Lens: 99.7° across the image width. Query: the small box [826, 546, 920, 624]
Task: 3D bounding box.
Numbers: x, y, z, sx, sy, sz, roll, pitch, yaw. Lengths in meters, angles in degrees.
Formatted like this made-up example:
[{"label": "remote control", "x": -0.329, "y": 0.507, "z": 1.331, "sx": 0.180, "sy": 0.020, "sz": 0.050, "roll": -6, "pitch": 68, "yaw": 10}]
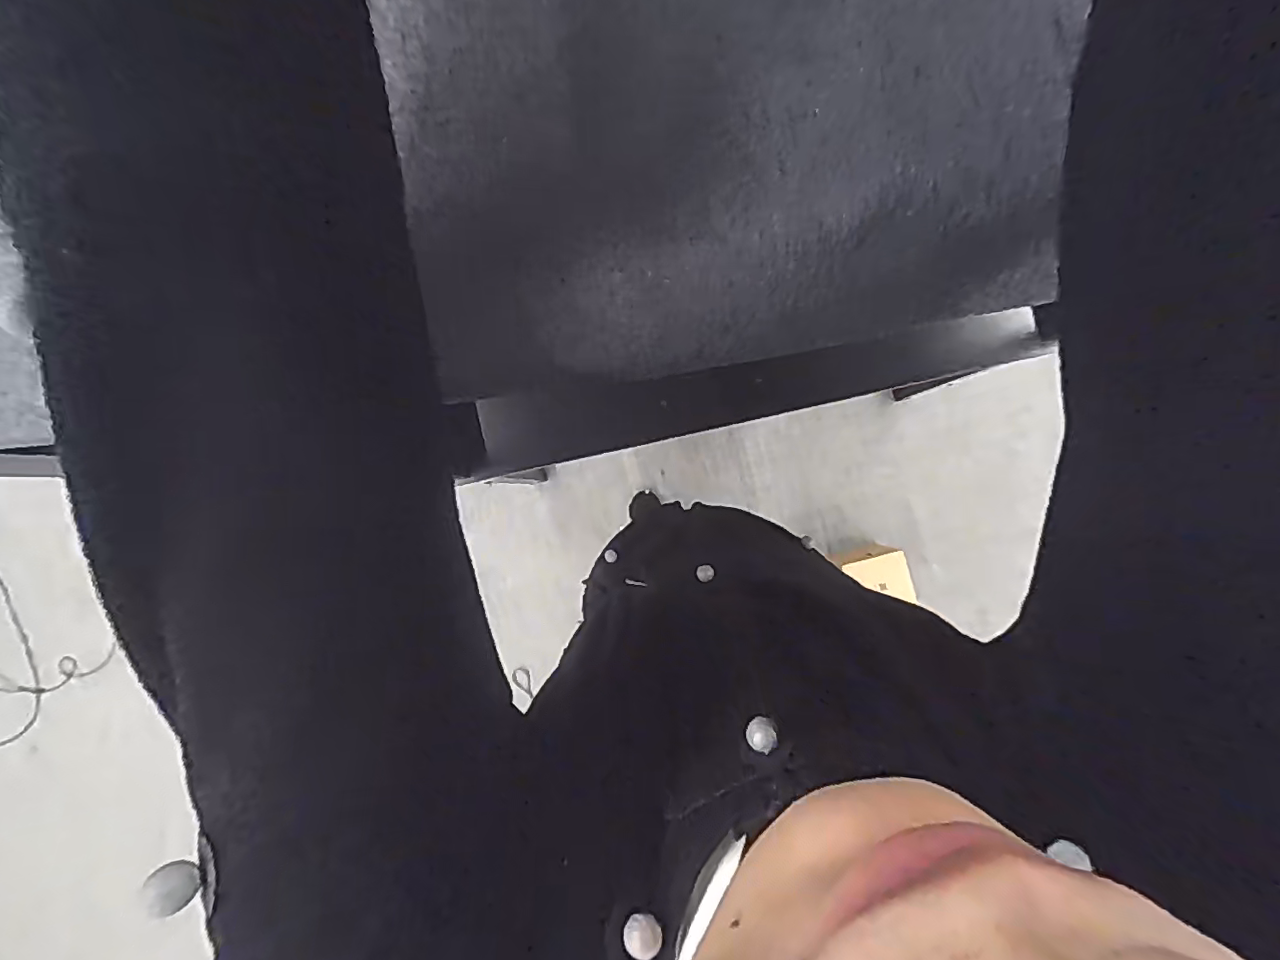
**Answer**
[{"label": "small box", "x": 0.658, "y": 0.293, "z": 1.545, "sx": 0.179, "sy": 0.176, "sz": 0.168, "roll": -15, "pitch": 88, "yaw": 2}]
